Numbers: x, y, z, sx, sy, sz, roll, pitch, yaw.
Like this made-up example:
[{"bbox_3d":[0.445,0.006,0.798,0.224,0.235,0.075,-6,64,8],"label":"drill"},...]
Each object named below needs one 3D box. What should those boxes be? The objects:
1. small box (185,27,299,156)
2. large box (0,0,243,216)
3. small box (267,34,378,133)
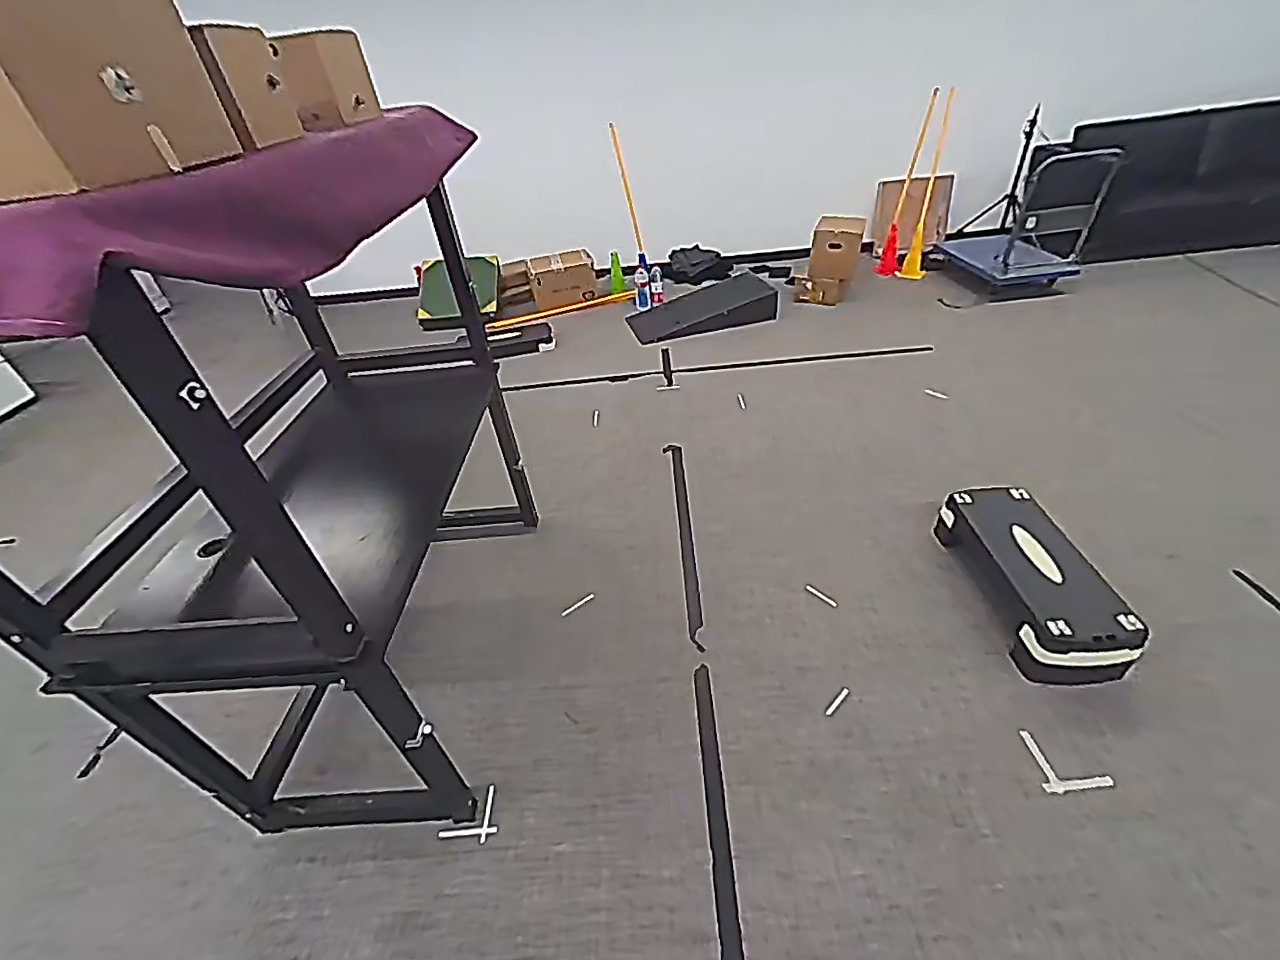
[{"bbox_3d":[-0.738,-0.670,0.945,0.168,0.176,0.179,-5,38,3],"label":"small box"},{"bbox_3d":[-0.799,-0.492,0.618,0.408,0.320,0.320,-5,37,4],"label":"large box"},{"bbox_3d":[-0.736,-0.908,1.245,0.168,0.176,0.179,1,38,11],"label":"small box"}]
